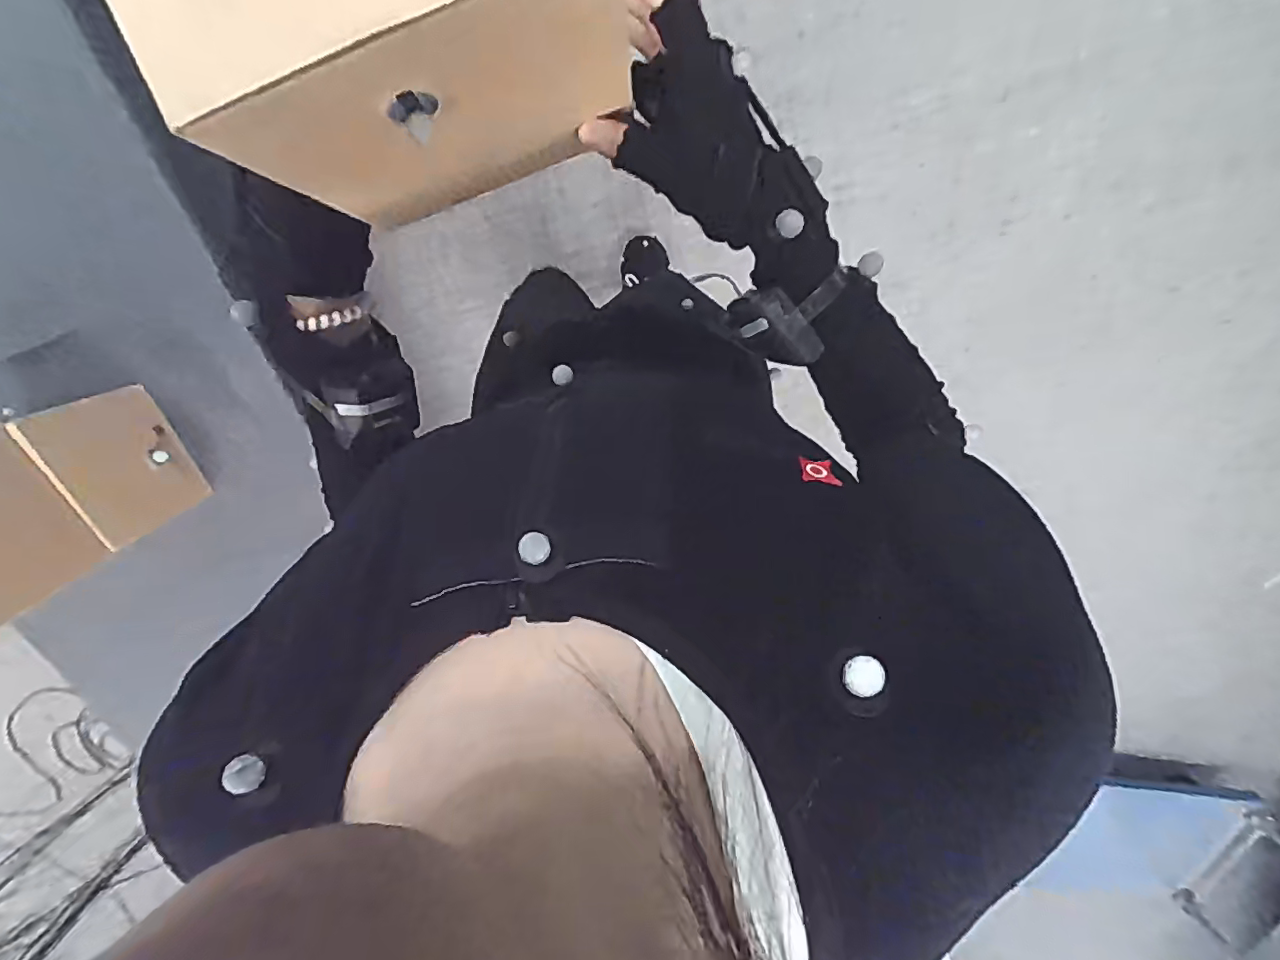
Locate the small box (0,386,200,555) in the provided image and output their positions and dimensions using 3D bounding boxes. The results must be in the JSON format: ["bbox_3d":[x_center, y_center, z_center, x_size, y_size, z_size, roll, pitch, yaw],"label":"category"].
[{"bbox_3d":[-0.708,-0.002,0.660,0.179,0.176,0.168,-14,113,4],"label":"small box"}]

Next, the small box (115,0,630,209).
[{"bbox_3d":[-0.111,-0.251,0.246,0.179,0.176,0.168,-19,102,4],"label":"small box"}]

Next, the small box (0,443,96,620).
[{"bbox_3d":[-0.706,0.067,0.512,0.168,0.176,0.179,-16,113,6],"label":"small box"}]
